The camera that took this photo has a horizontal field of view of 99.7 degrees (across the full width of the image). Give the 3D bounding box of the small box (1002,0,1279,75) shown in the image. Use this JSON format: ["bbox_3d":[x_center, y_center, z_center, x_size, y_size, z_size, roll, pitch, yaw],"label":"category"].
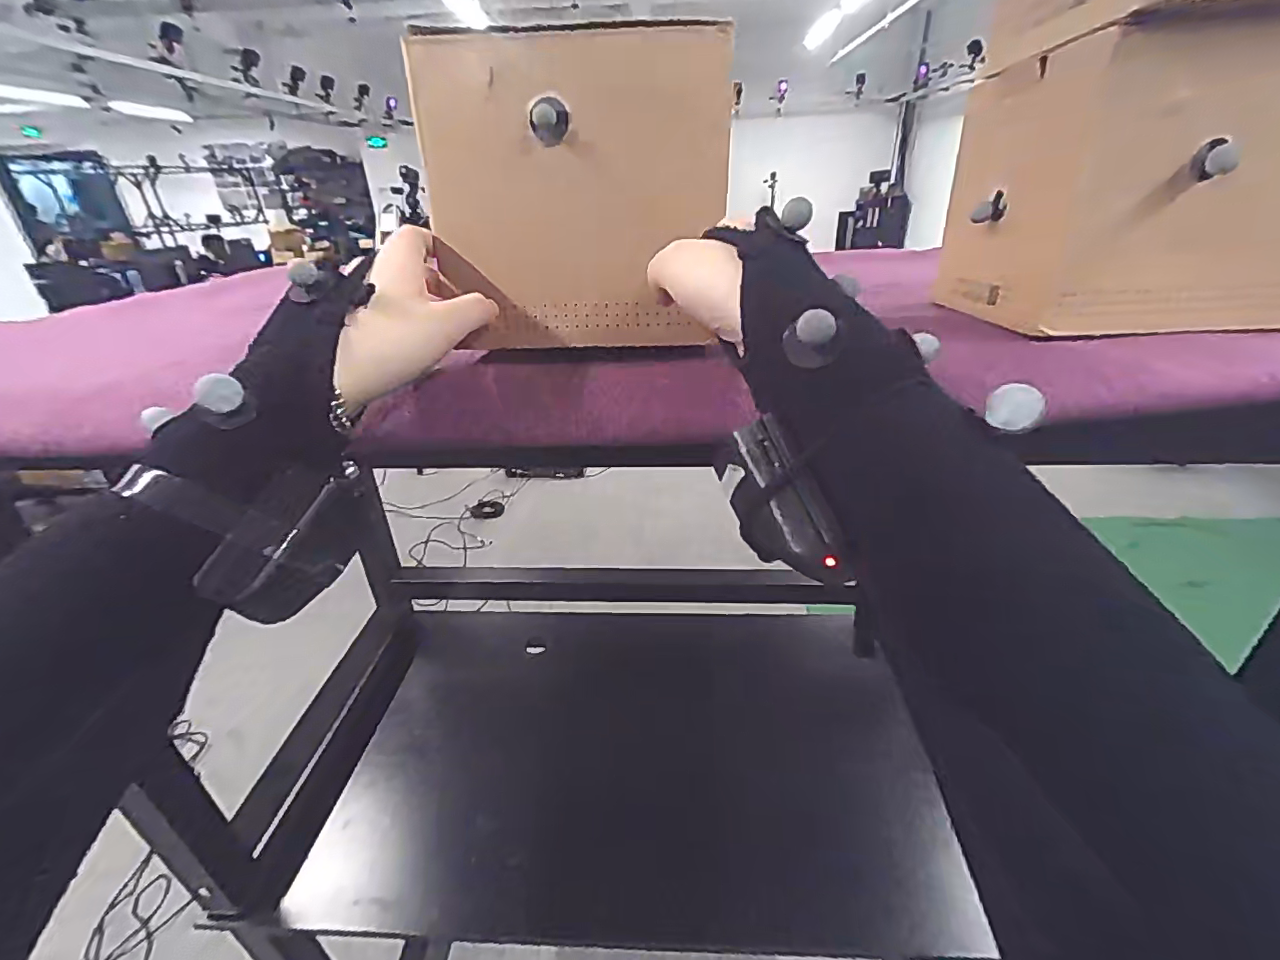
[{"bbox_3d":[0.338,-0.341,0.302,0.179,0.176,0.168,-1,26,4],"label":"small box"}]

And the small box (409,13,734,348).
[{"bbox_3d":[-0.031,-0.190,0.384,0.179,0.176,0.168,0,24,2],"label":"small box"}]

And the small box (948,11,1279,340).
[{"bbox_3d":[0.346,-0.200,0.386,0.179,0.176,0.168,-1,27,5],"label":"small box"}]
